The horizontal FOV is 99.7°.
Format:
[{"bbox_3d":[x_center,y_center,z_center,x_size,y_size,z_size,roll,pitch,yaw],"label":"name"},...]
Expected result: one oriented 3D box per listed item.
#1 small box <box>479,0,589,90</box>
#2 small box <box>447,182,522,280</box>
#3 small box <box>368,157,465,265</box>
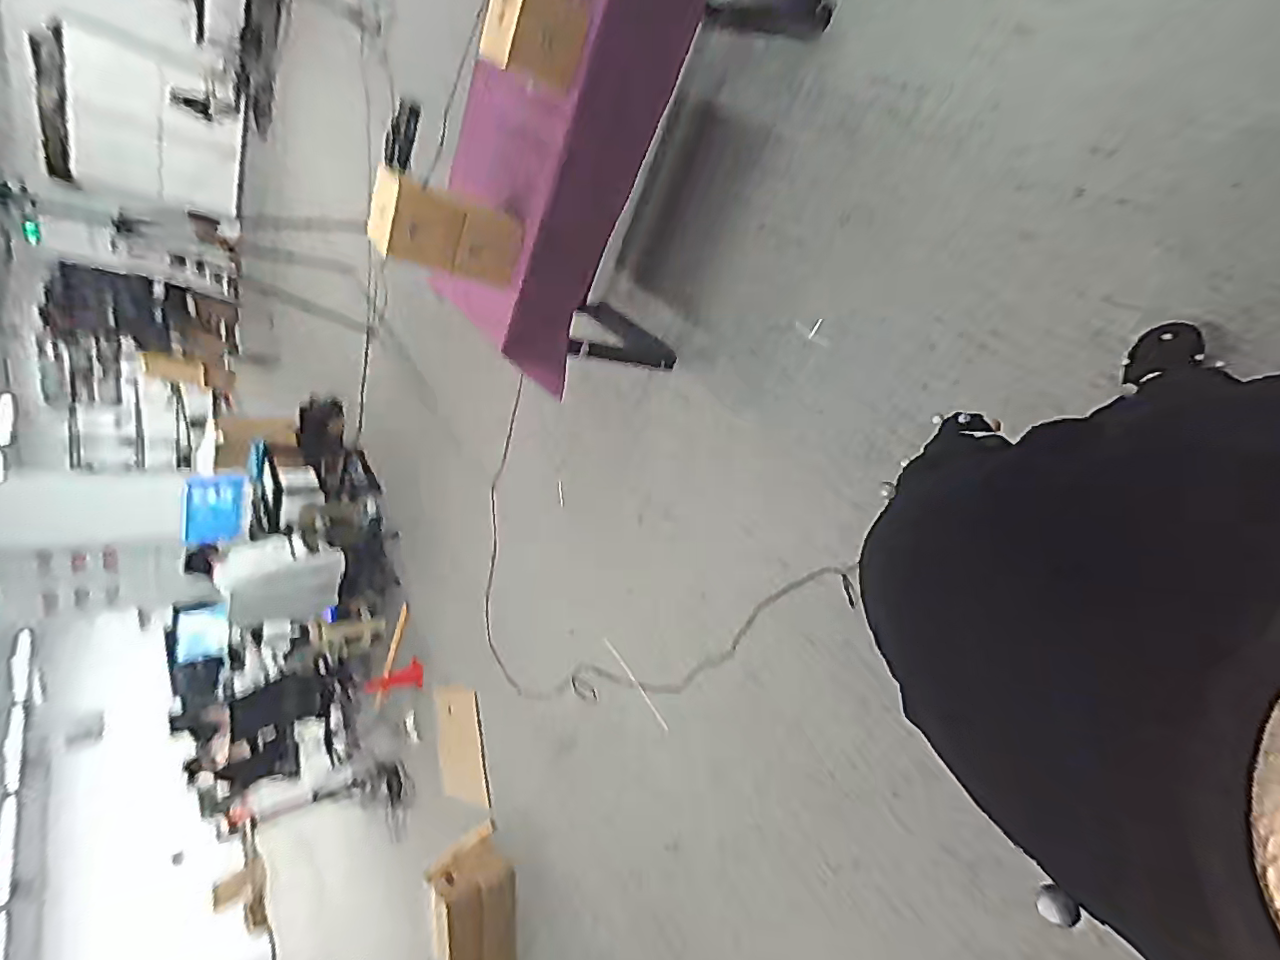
[{"bbox_3d":[-0.241,-1.051,1.248,0.168,0.176,0.179,48,125,34],"label":"small box"},{"bbox_3d":[-0.444,-0.671,1.474,0.168,0.176,0.179,48,124,33],"label":"small box"},{"bbox_3d":[-0.559,-0.670,1.359,0.168,0.176,0.179,48,125,34],"label":"small box"}]
